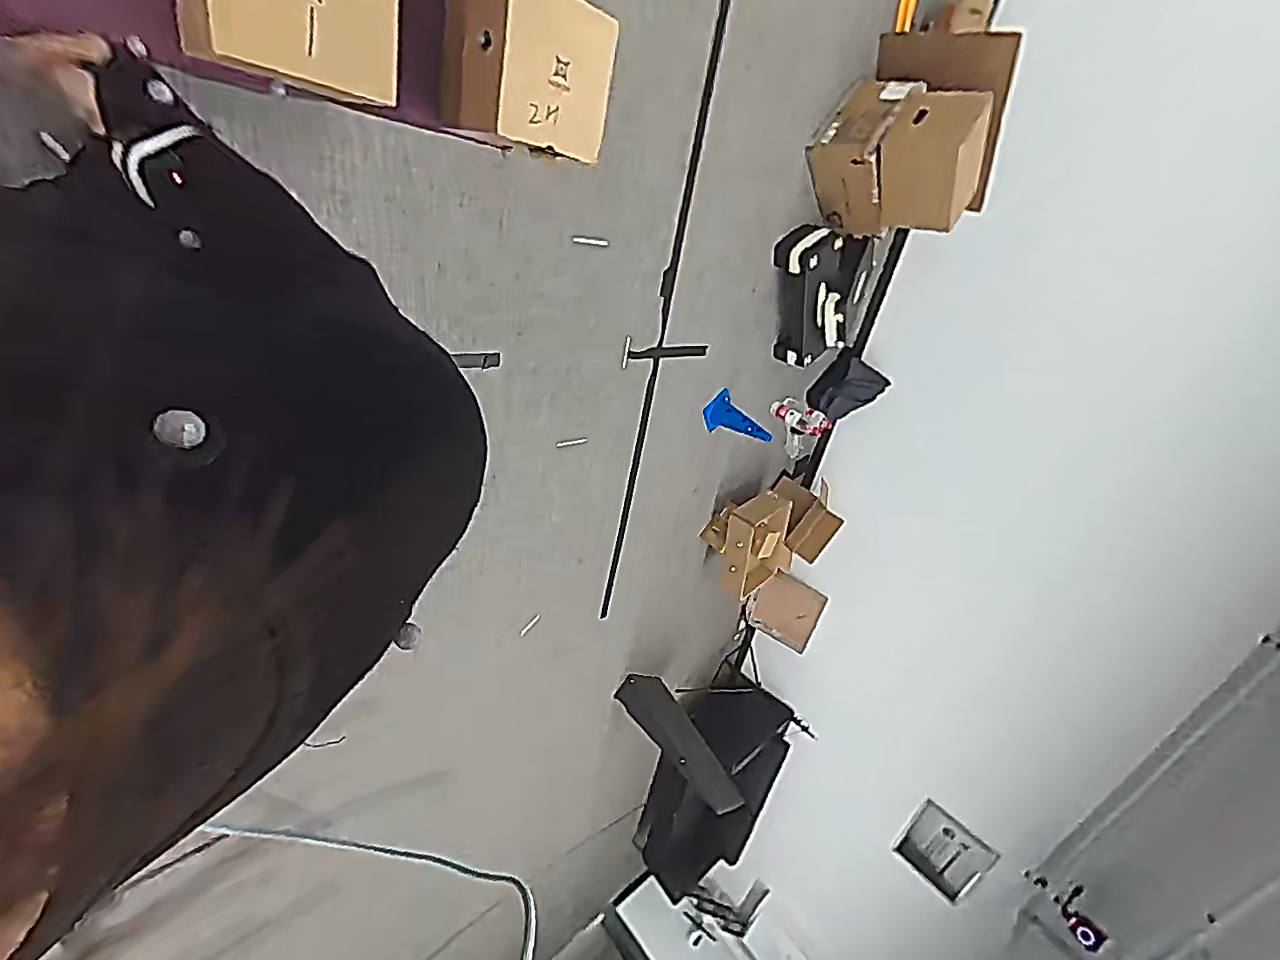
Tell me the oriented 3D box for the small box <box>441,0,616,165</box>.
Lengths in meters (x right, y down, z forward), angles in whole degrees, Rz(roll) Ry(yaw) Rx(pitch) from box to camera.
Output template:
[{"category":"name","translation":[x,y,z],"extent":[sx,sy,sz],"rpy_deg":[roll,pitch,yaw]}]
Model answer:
[{"category":"small box","translation":[-0.160,-0.559,0.746],"extent":[0.168,0.176,0.179],"rpy_deg":[-12,125,-42]}]

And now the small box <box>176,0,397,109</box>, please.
[{"category":"small box","translation":[-0.366,-0.510,0.556],"extent":[0.168,0.176,0.179],"rpy_deg":[-13,127,-42]}]
